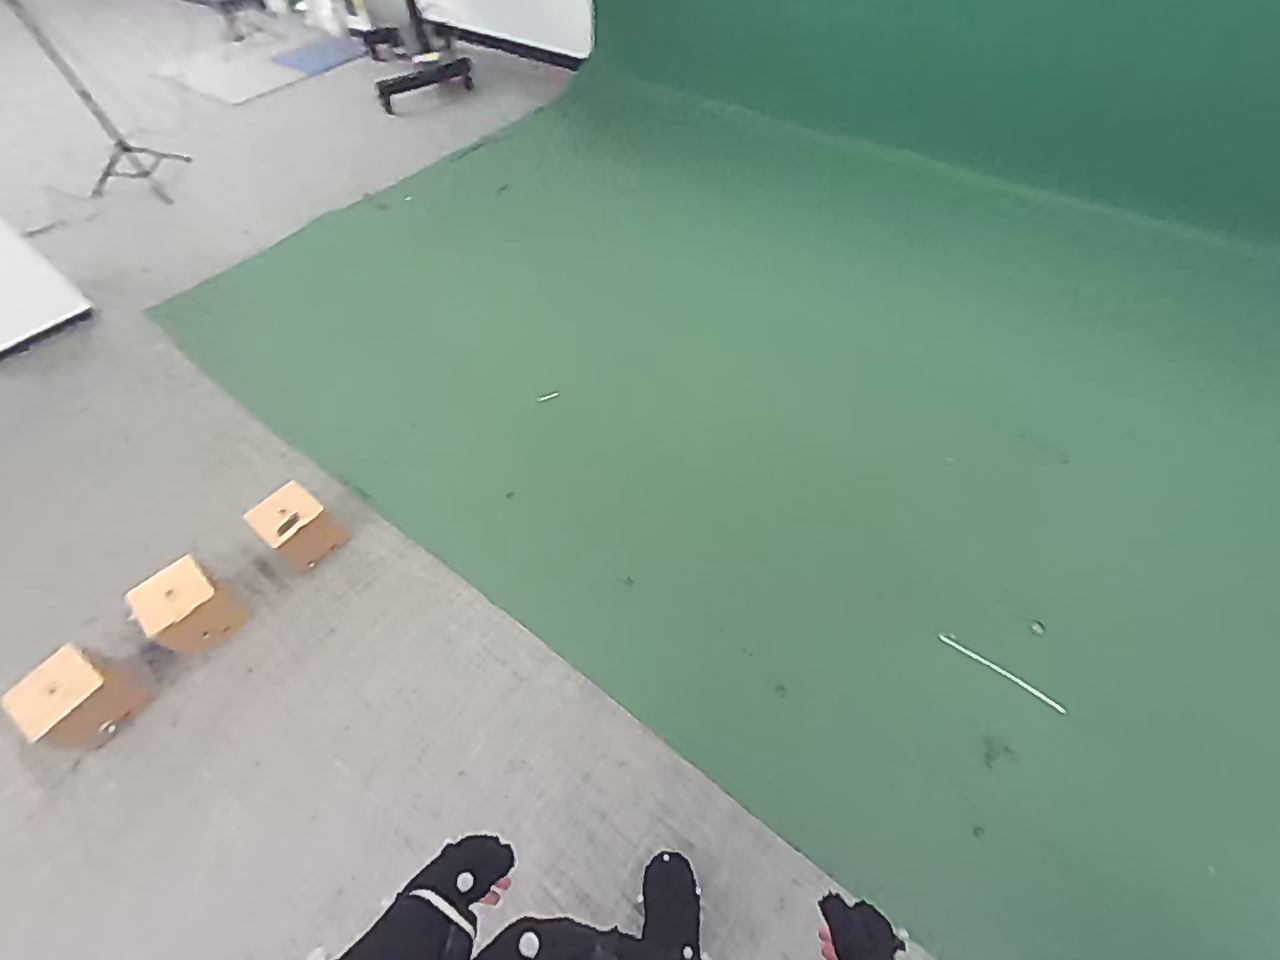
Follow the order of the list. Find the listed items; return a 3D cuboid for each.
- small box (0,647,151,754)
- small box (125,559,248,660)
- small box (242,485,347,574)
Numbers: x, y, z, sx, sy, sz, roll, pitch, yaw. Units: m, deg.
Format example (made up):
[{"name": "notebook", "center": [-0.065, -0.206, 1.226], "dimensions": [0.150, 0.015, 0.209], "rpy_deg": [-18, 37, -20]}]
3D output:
[{"name": "small box", "center": [-1.384, 0.549, 1.334], "dimensions": [0.179, 0.176, 0.168], "rpy_deg": [29, 62, 18]}, {"name": "small box", "center": [-1.222, 0.356, 1.468], "dimensions": [0.179, 0.176, 0.168], "rpy_deg": [37, 63, 23]}, {"name": "small box", "center": [-1.015, 0.155, 1.605], "dimensions": [0.179, 0.176, 0.168], "rpy_deg": [32, 61, 22]}]
